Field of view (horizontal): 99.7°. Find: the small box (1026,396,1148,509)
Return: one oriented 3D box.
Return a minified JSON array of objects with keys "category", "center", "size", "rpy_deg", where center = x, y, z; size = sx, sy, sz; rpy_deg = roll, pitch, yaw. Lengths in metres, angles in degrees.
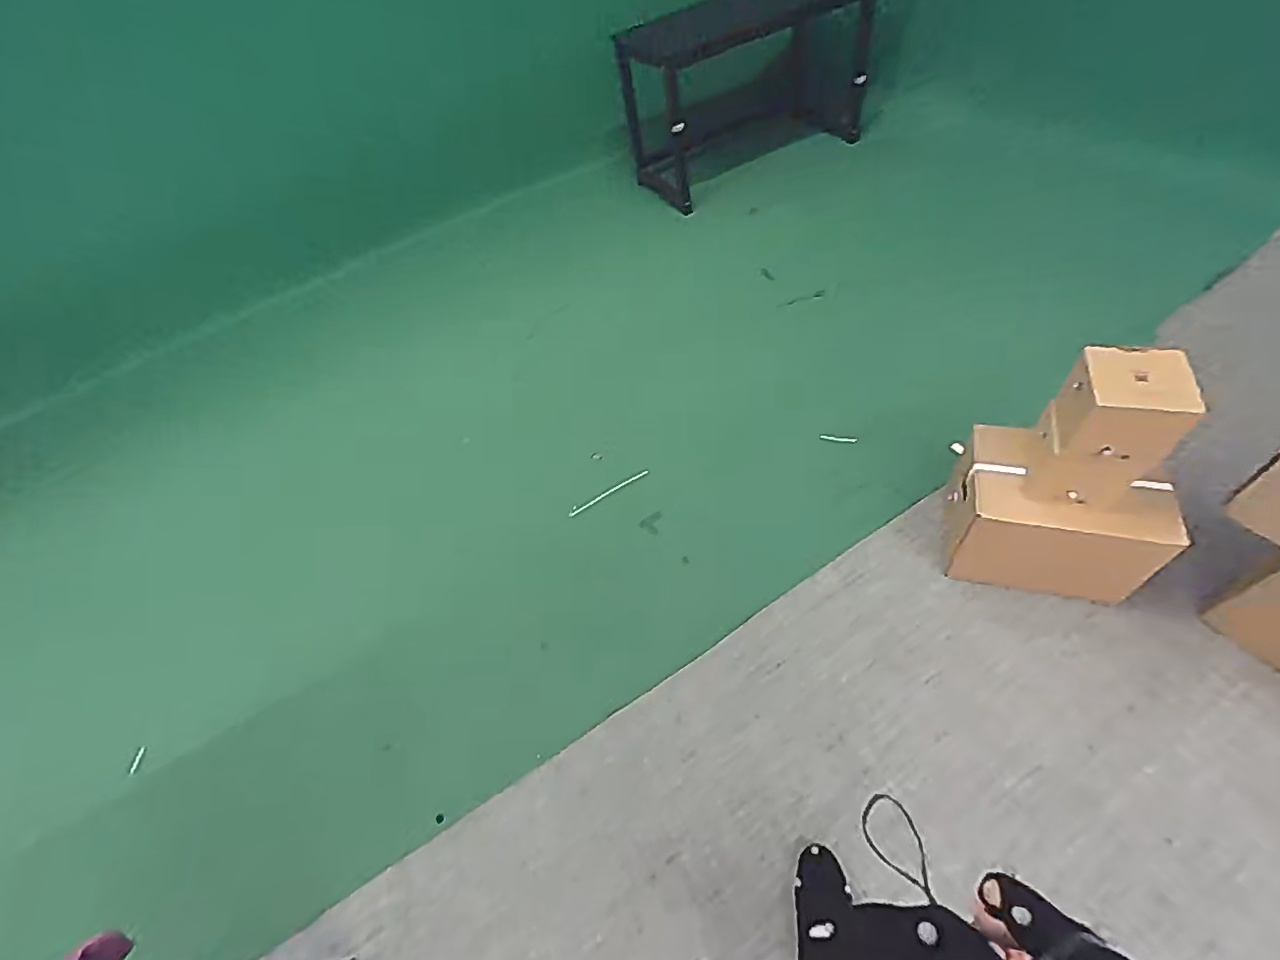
[{"category":"small box","center":[1.007,-0.062,1.236],"size":[0.168,0.176,0.179],"rpy_deg":[12,57,21]}]

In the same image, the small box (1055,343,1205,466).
[{"category":"small box","center":[0.981,-0.155,1.104],"size":[0.168,0.176,0.179],"rpy_deg":[9,56,20]}]
